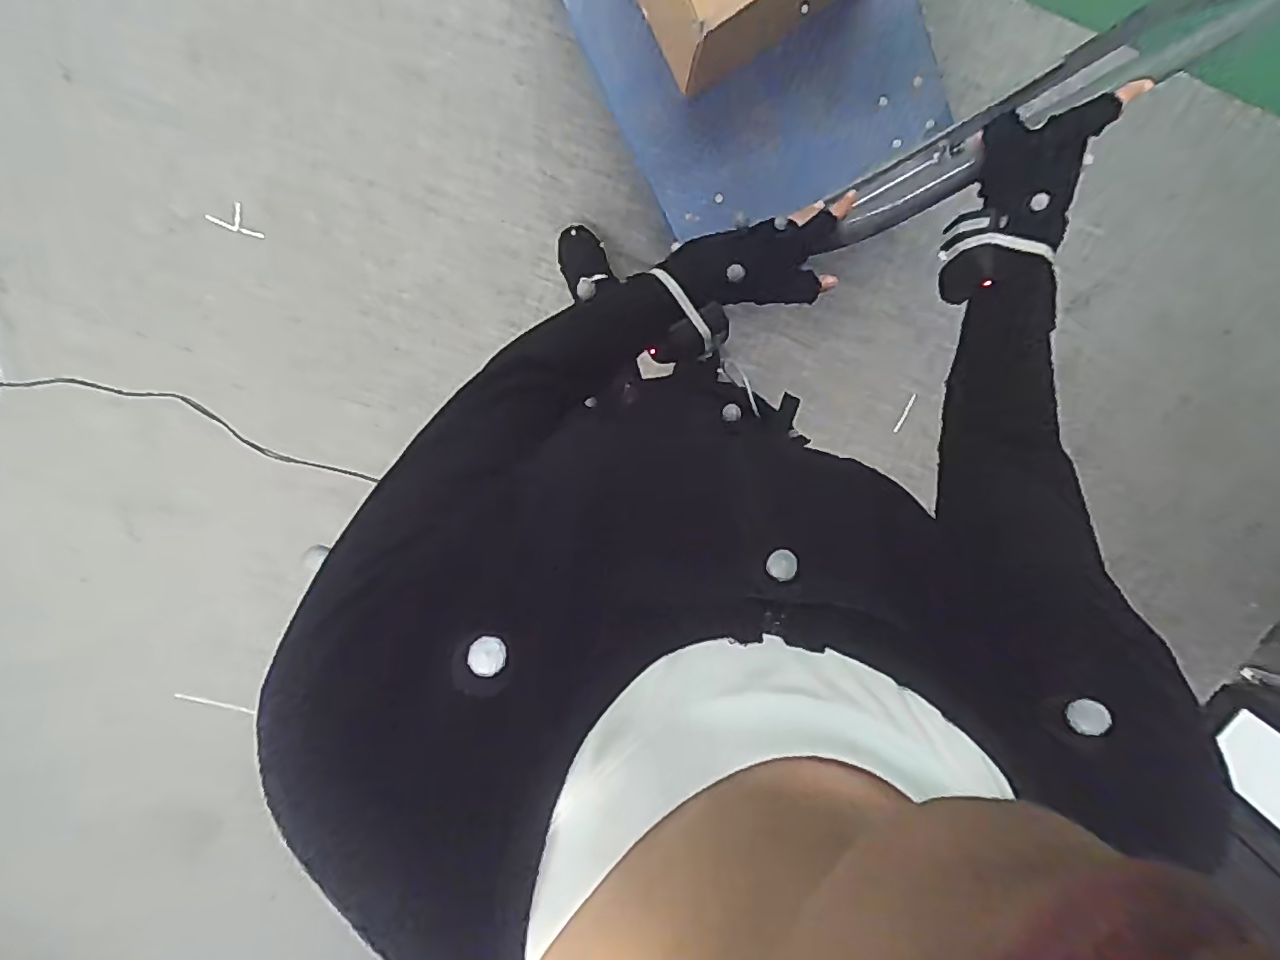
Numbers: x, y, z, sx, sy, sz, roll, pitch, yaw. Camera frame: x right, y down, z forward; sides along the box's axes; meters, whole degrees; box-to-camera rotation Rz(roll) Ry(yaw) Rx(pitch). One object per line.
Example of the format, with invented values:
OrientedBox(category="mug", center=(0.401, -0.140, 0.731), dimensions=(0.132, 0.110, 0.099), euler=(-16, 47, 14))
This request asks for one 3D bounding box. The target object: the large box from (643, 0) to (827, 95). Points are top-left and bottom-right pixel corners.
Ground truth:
OrientedBox(category="large box", center=(0.188, -0.907, 0.834), dimensions=(0.408, 0.320, 0.320), euler=(-29, 107, 11))
